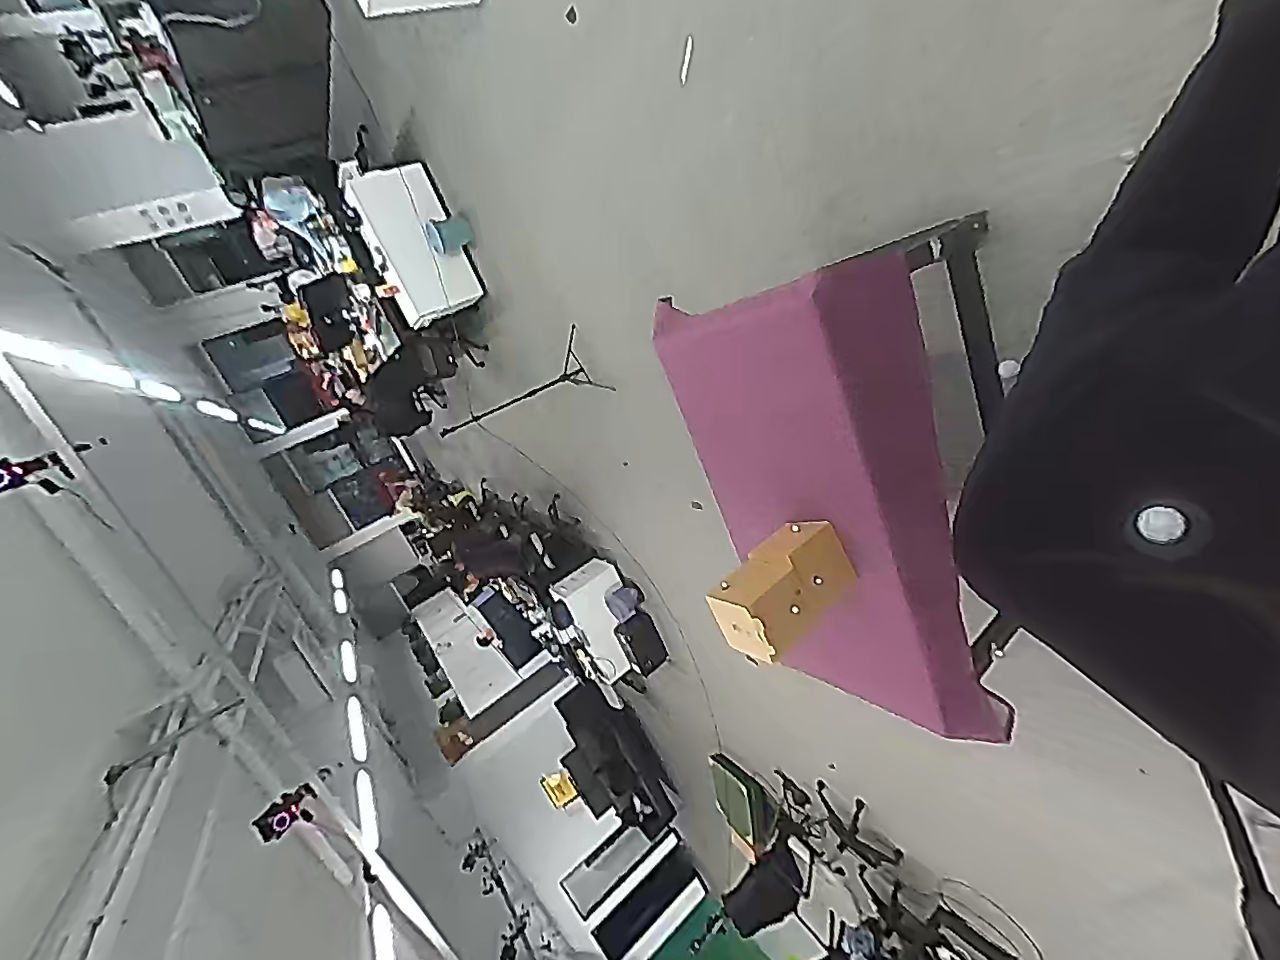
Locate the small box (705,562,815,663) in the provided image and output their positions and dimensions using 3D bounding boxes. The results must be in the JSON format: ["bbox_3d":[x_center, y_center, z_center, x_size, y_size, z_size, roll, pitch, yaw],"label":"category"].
[{"bbox_3d":[0.302,0.323,1.359,0.179,0.176,0.168,-3,117,62],"label":"small box"}]

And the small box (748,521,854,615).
[{"bbox_3d":[0.424,0.225,1.417,0.179,0.176,0.168,62,154,-7],"label":"small box"}]
